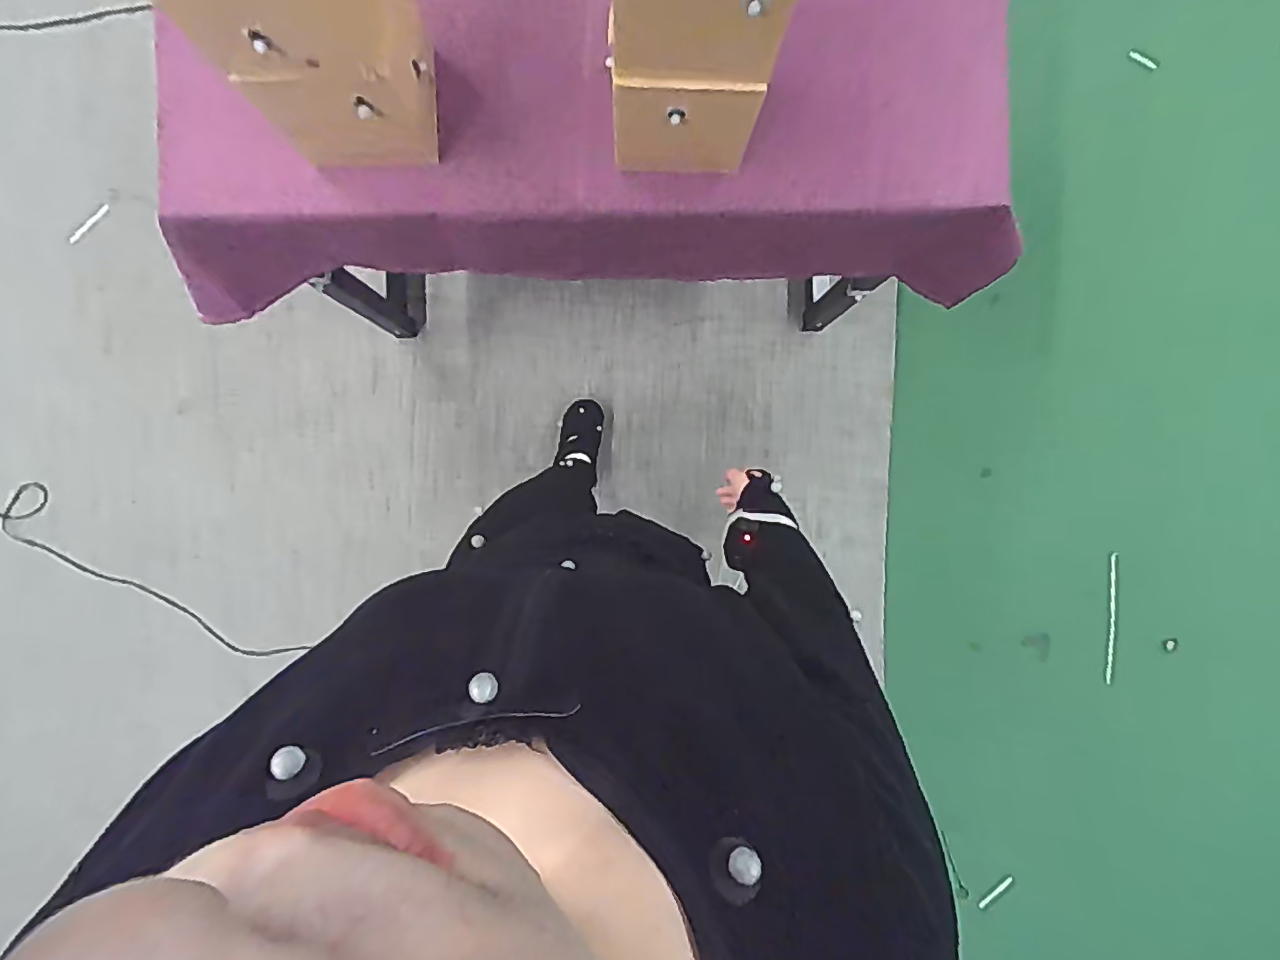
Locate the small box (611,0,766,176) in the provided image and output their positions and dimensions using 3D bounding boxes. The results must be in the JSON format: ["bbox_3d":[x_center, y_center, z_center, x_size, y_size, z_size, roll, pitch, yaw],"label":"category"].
[{"bbox_3d":[0.055,-0.517,0.693,0.179,0.176,0.168,1,90,-2],"label":"small box"}]

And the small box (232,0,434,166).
[{"bbox_3d":[-0.369,-0.524,0.680,0.179,0.176,0.168,-1,89,-2],"label":"small box"}]

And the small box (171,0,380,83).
[{"bbox_3d":[-0.367,-0.529,0.517,0.168,0.176,0.179,-2,91,-2],"label":"small box"}]
